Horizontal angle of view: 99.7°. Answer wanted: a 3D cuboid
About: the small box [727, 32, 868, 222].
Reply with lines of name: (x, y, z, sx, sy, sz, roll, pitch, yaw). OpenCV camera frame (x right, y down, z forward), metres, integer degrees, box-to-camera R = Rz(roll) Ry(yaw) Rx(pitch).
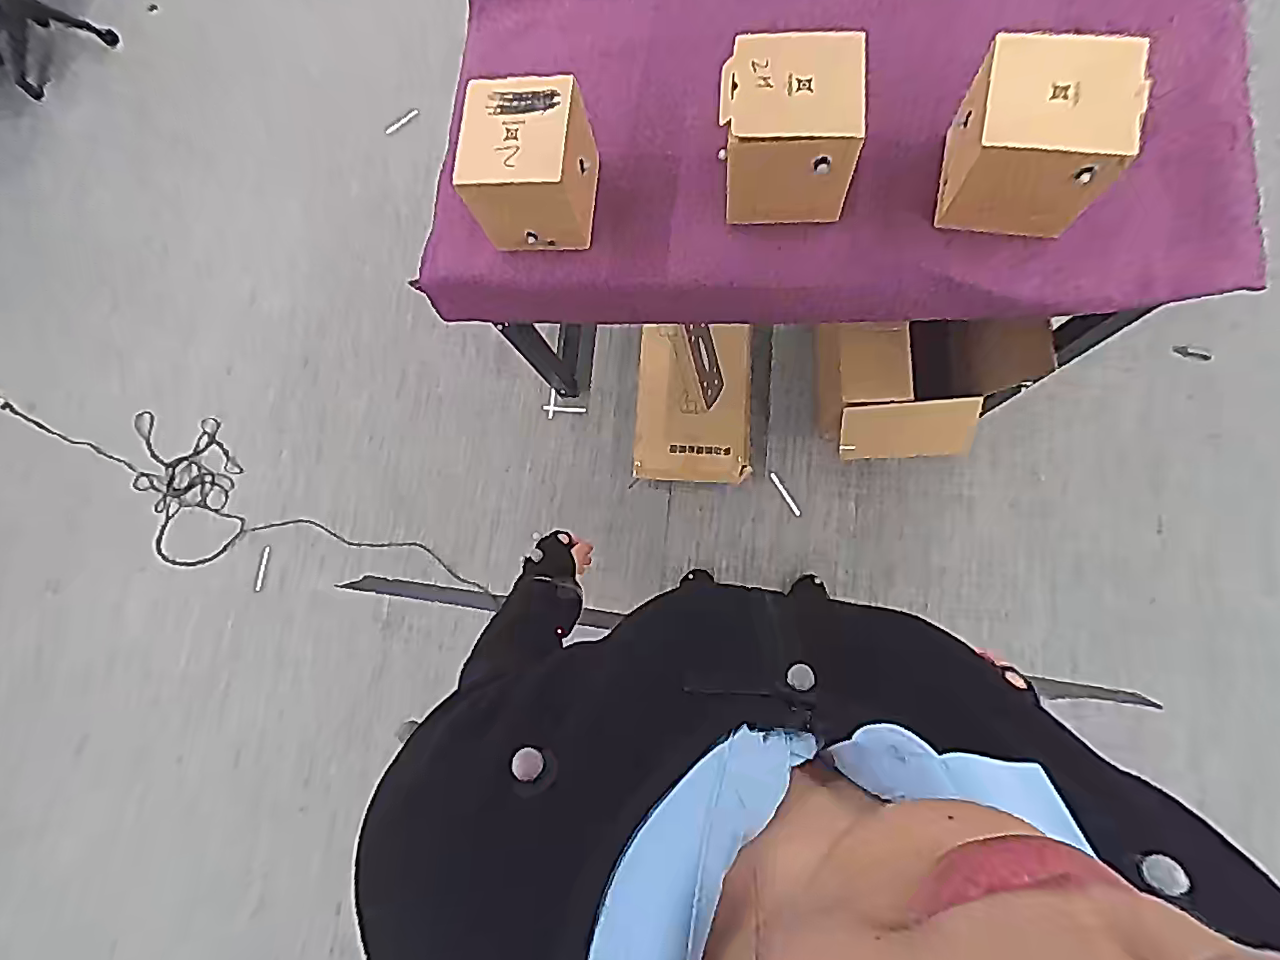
small box: (0.221, -0.503, 0.792, 0.179, 0.176, 0.168, 3, 78, 9)

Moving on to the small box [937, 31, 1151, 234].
small box: (0.533, -0.462, 0.738, 0.179, 0.176, 0.168, 10, 82, 10)
